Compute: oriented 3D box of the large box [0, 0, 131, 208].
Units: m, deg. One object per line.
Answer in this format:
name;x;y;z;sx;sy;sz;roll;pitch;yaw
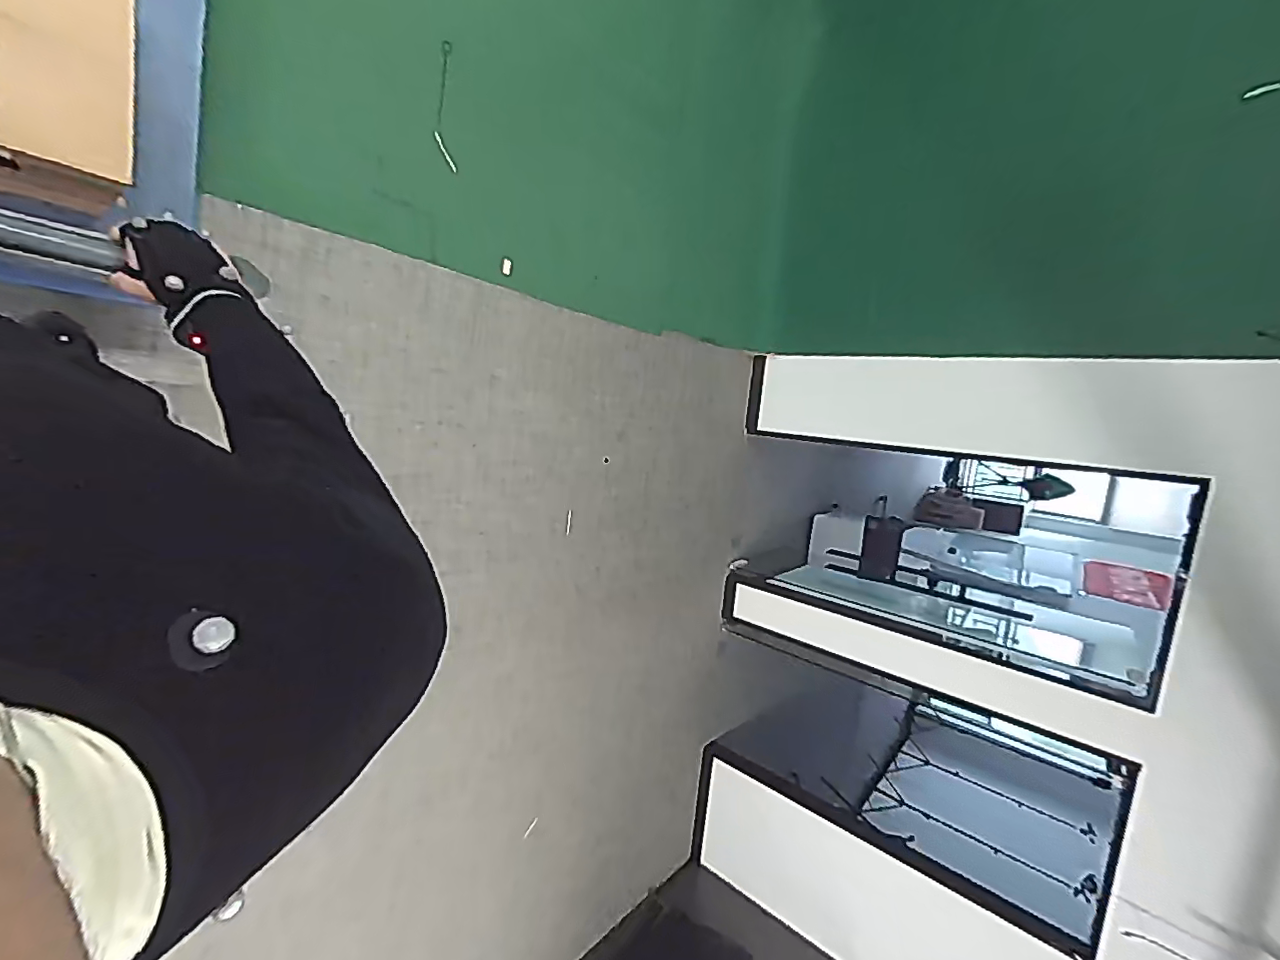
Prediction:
large box;-0.984;-0.680;0.793;0.320;0.320;0.408;-2;100;-50
